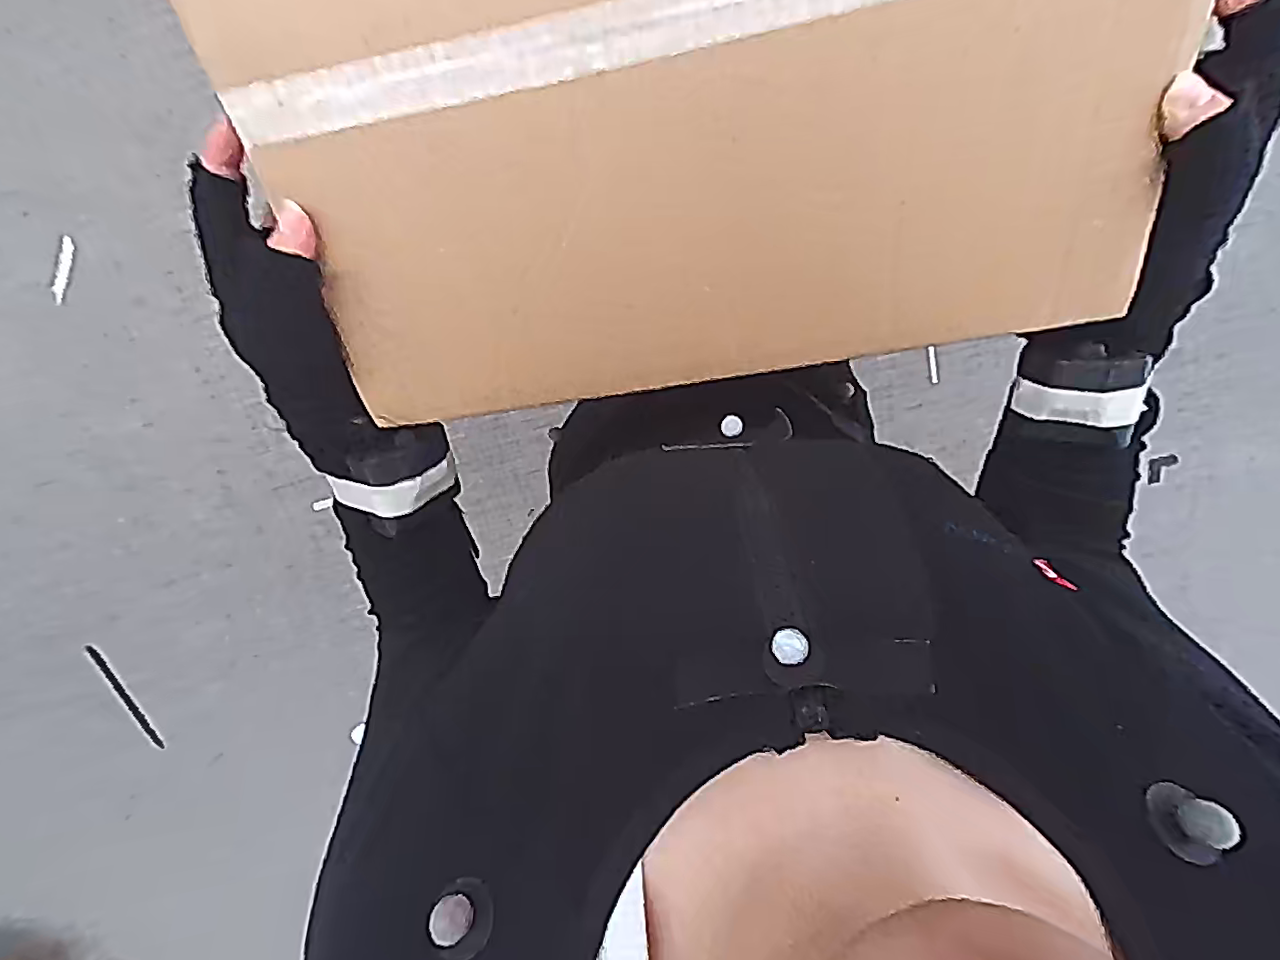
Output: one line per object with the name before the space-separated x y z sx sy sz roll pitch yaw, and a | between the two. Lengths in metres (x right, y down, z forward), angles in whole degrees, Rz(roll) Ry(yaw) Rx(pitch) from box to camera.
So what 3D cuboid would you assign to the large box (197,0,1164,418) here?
large box | 0.021 -0.270 0.356 0.408 0.320 0.320 -7 120 7
